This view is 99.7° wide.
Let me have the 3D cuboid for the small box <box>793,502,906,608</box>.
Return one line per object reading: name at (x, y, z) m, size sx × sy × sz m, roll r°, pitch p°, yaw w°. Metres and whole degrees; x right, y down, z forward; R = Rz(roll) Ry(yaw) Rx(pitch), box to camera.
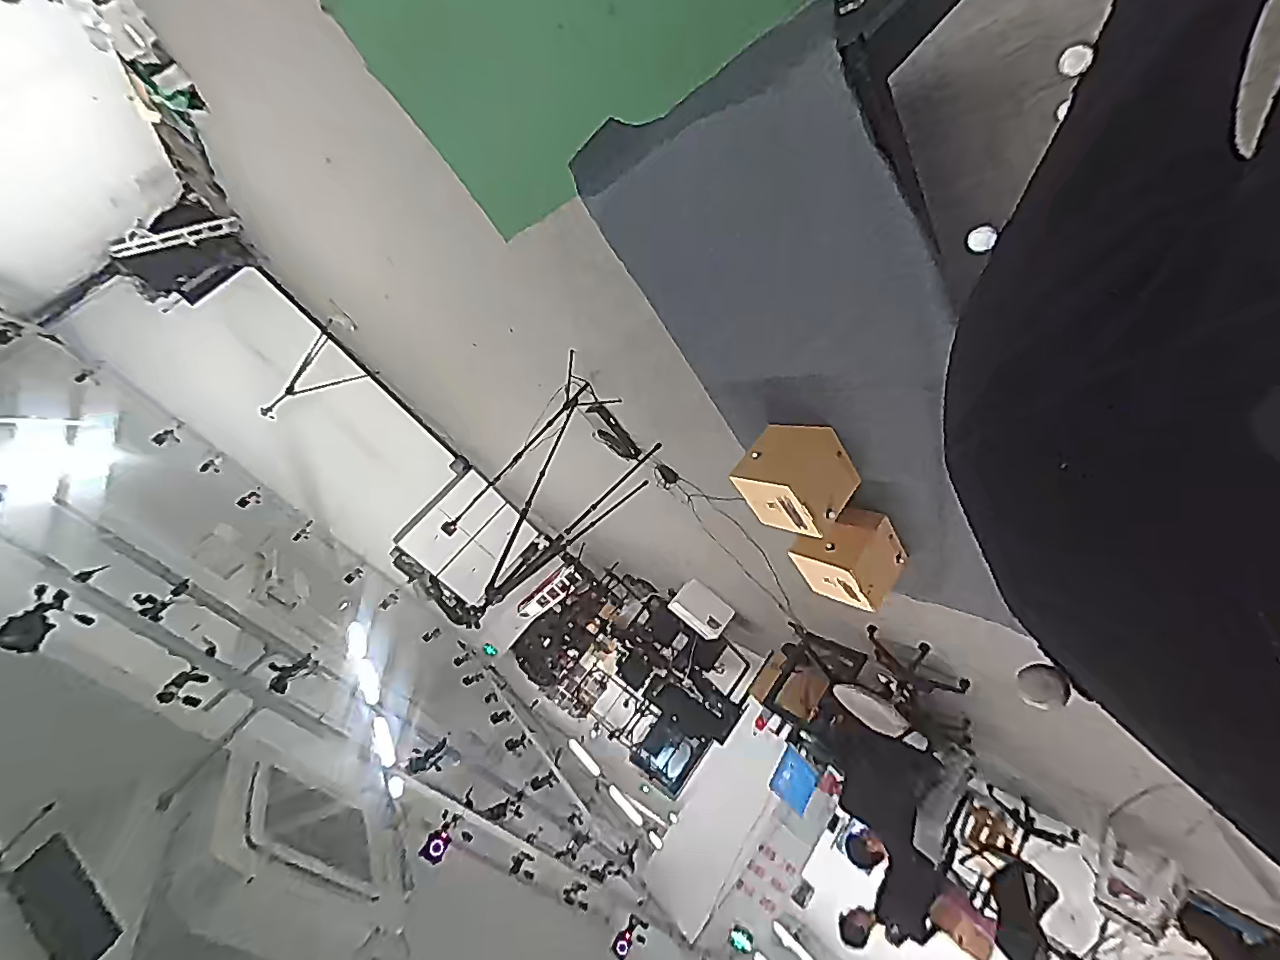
small box at (0.508, 0.171, 1.295) m, size 0.179 × 0.176 × 0.168 m, roll 14°, pitch 148°, yaw 55°
